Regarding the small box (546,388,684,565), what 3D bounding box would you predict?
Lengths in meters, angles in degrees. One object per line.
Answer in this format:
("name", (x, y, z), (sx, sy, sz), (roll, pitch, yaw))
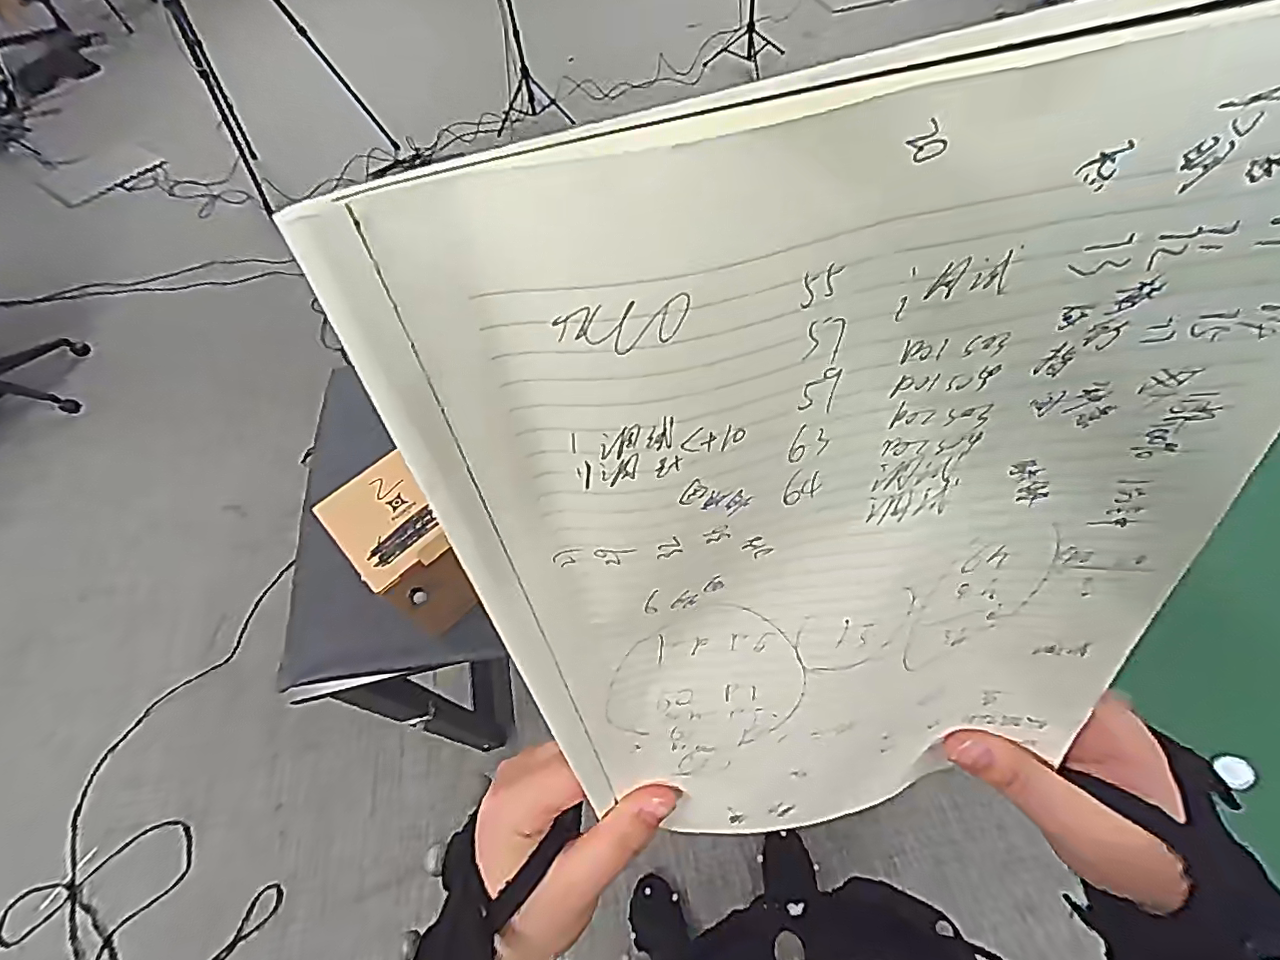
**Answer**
("small box", (-0.034, -0.001, 0.781), (0.168, 0.176, 0.179), (-11, 56, 0))
